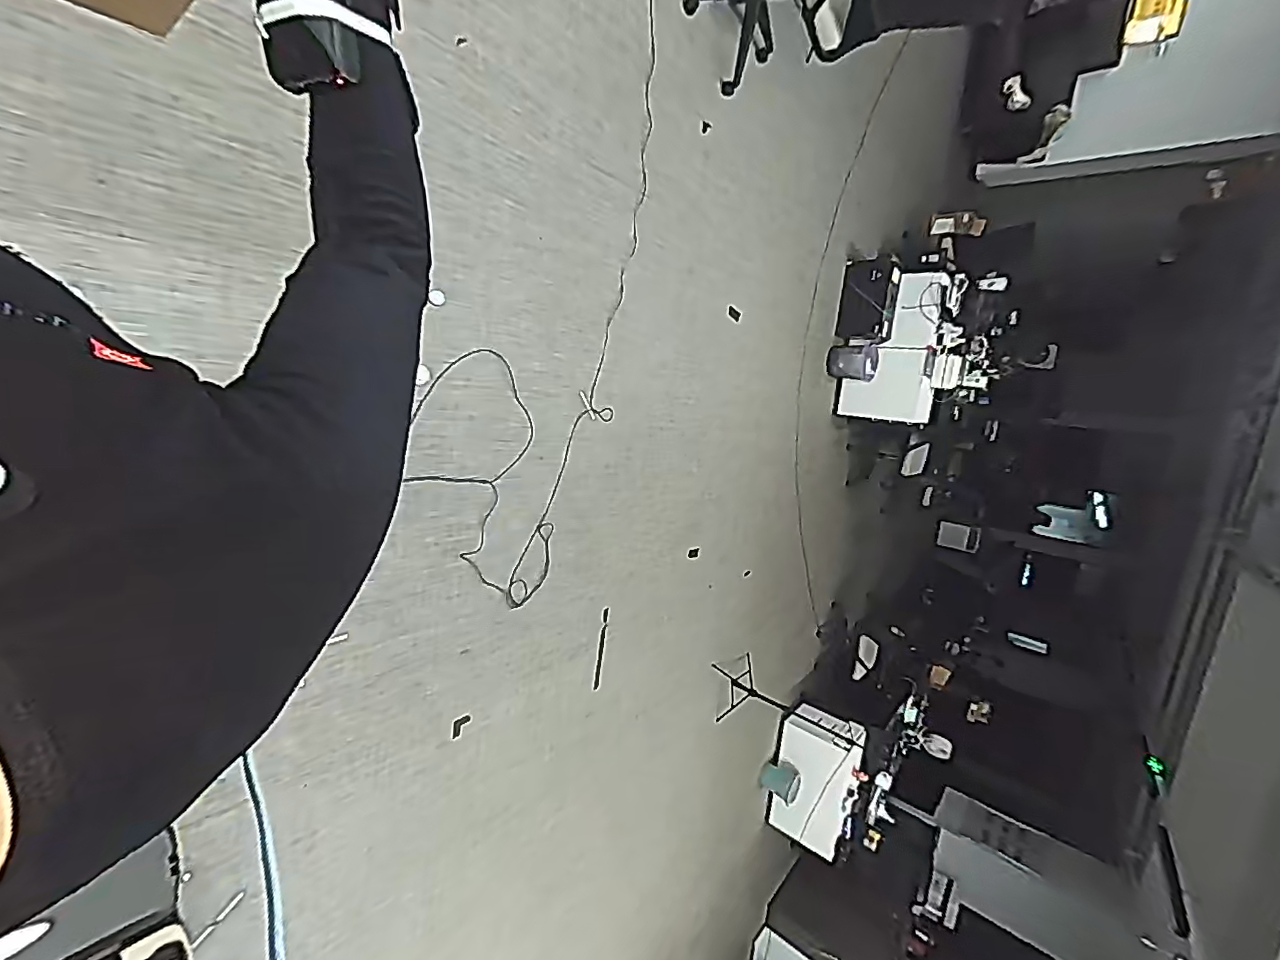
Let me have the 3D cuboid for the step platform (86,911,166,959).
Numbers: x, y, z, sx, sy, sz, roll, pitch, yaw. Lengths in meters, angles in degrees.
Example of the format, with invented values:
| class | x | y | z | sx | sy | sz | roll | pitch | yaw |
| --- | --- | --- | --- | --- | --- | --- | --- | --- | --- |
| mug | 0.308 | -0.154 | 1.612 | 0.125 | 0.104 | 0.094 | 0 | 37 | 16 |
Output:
| class | x | y | z | sx | sy | sz | roll | pitch | yaw |
| --- | --- | --- | --- | --- | --- | --- | --- | --- | --- |
| step platform | -1.342 | 1.204 | 1.026 | 0.684 | 0.204 | 0.286 | -9 | 108 | -49 |
